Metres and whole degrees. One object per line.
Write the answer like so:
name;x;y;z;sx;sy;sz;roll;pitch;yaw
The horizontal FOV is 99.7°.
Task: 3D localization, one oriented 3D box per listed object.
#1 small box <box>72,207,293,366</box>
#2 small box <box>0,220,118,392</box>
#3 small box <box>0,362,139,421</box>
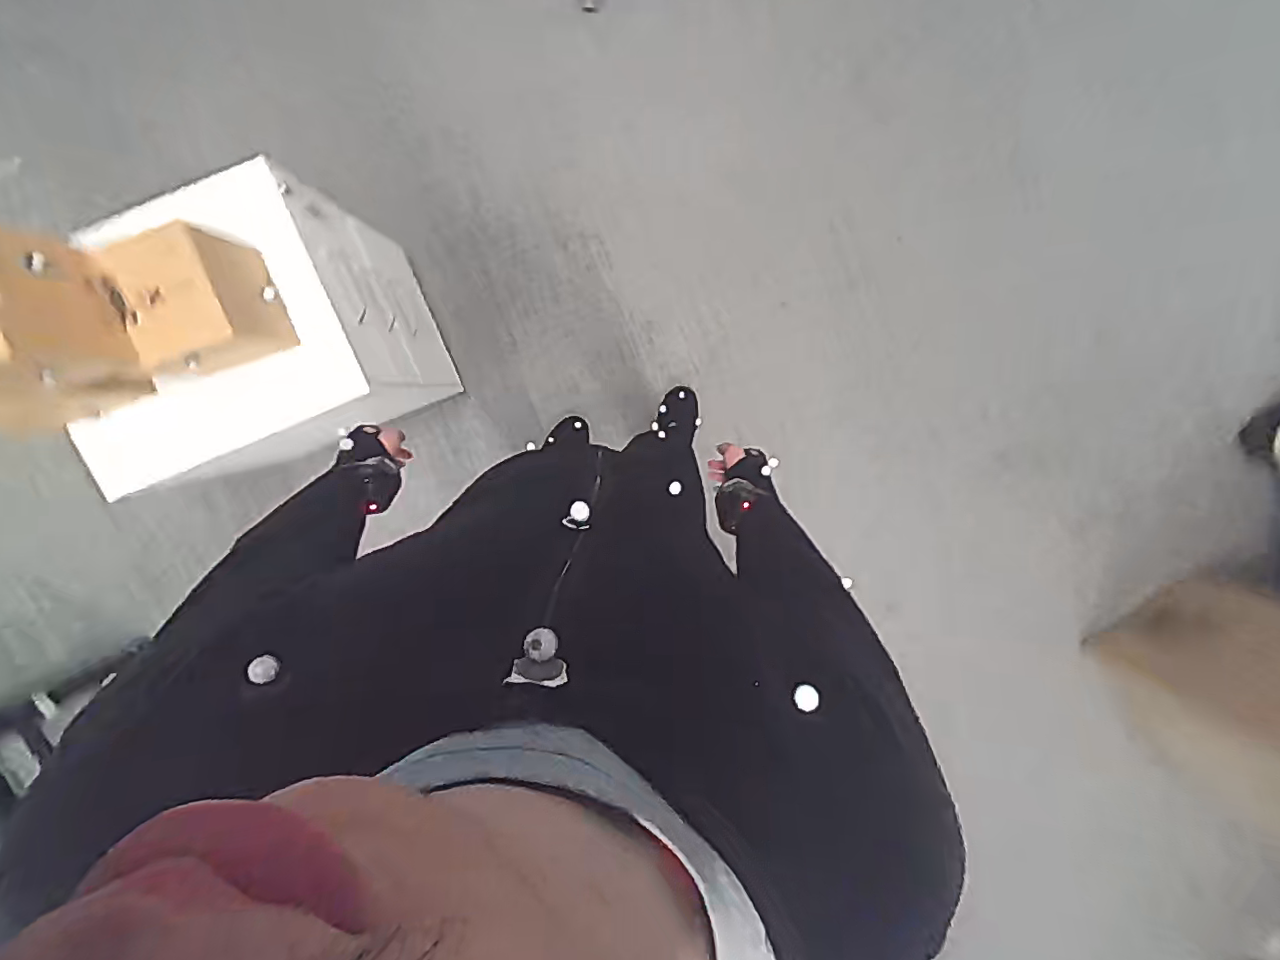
small box;-0.676;-0.274;0.810;0.179;0.176;0.168;-18;101;1
small box;-0.800;-0.209;0.654;0.179;0.176;0.168;-18;99;3
small box;-0.923;-0.194;0.817;0.179;0.176;0.168;-20;100;0
